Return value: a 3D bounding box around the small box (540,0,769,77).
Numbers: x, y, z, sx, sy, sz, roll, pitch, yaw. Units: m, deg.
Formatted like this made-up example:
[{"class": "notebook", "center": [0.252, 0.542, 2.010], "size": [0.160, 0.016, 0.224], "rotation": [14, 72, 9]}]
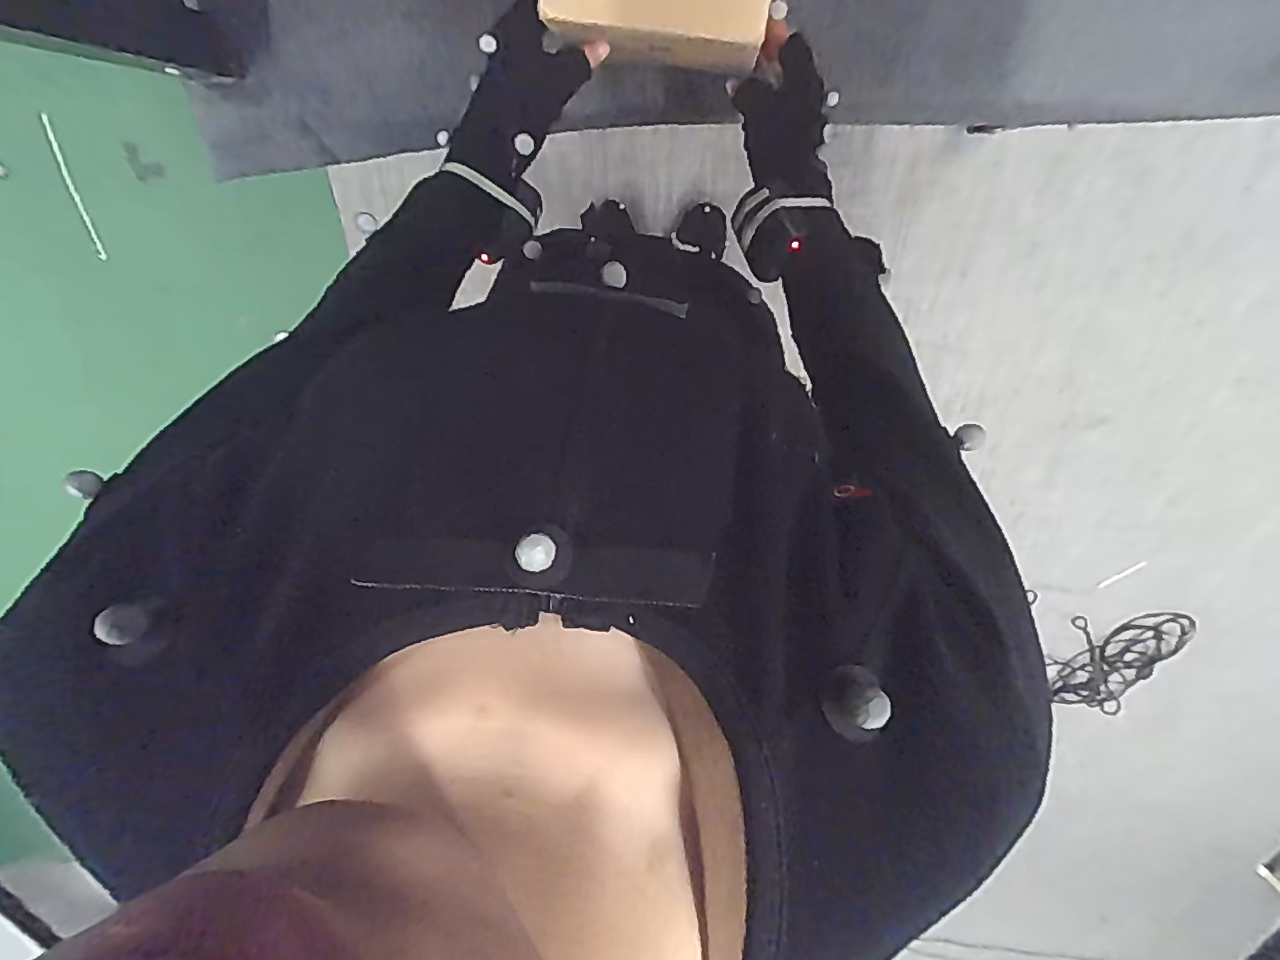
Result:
[{"class": "small box", "center": [0.024, -0.436, 0.418], "size": [0.168, 0.179, 0.176], "rotation": [10, 120, 3]}]
